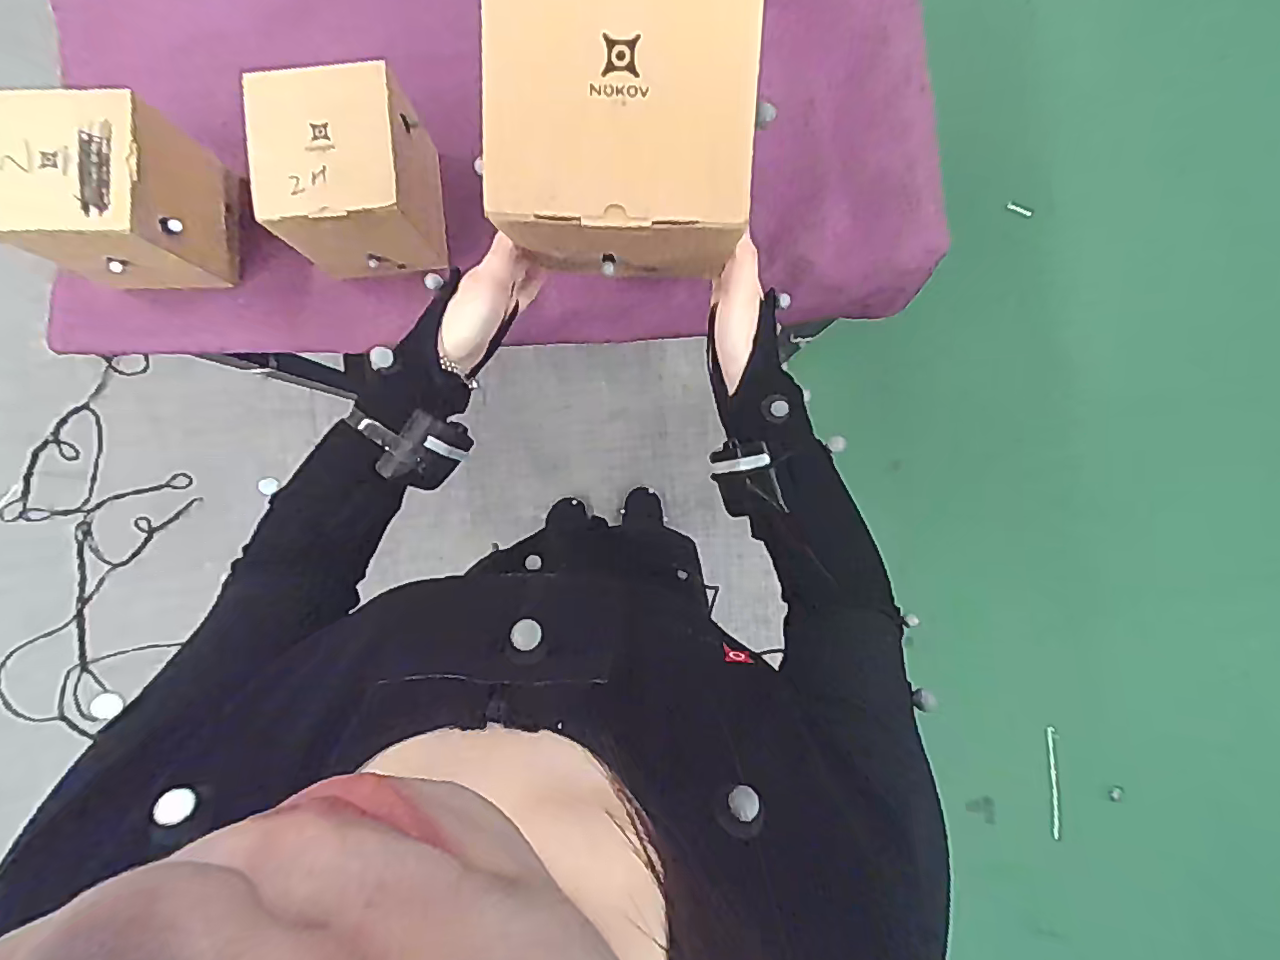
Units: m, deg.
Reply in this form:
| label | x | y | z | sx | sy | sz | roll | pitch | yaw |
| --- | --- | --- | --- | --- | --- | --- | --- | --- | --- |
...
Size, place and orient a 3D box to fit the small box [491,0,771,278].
| label | x | y | z | sx | sy | sz | roll | pitch | yaw |
| --- | --- | --- | --- | --- | --- | --- | --- | --- | --- |
| small box | -0.006 | -0.259 | 0.399 | 0.168 | 0.176 | 0.179 | 2 | 102 | 1 |

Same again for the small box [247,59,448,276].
| label | x | y | z | sx | sy | sz | roll | pitch | yaw |
| --- | --- | --- | --- | --- | --- | --- | --- | --- | --- |
| small box | -0.361 | -0.386 | 0.695 | 0.168 | 0.176 | 0.179 | -6 | 89 | 0 |
